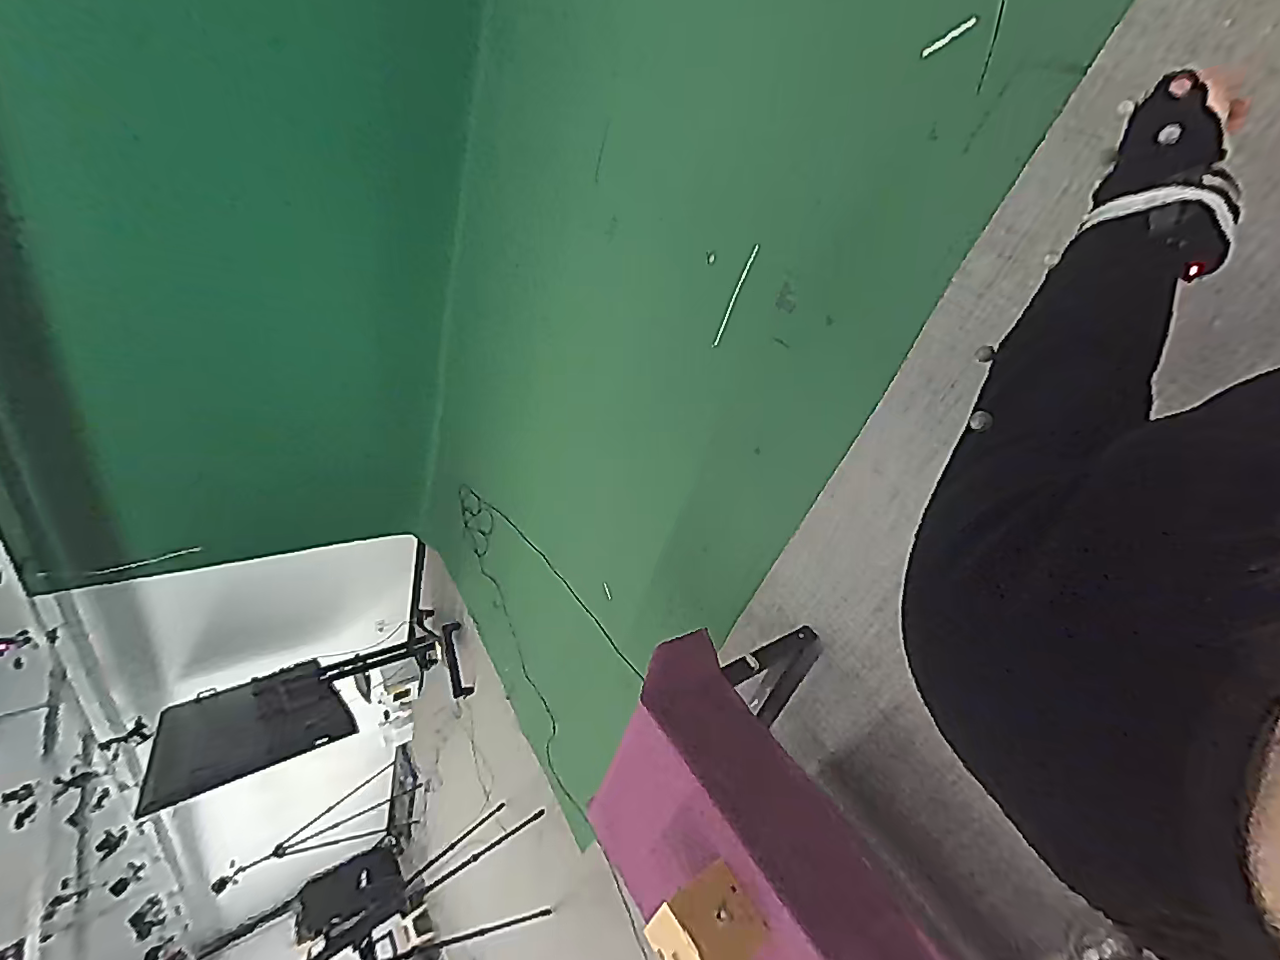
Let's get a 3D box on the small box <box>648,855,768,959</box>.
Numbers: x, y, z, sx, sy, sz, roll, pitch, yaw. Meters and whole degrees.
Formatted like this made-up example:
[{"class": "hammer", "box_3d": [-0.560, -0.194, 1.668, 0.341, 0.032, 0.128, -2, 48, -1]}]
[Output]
[{"class": "small box", "box_3d": [0.151, 0.968, 1.175, 0.168, 0.176, 0.179, 46, 130, 36]}]
